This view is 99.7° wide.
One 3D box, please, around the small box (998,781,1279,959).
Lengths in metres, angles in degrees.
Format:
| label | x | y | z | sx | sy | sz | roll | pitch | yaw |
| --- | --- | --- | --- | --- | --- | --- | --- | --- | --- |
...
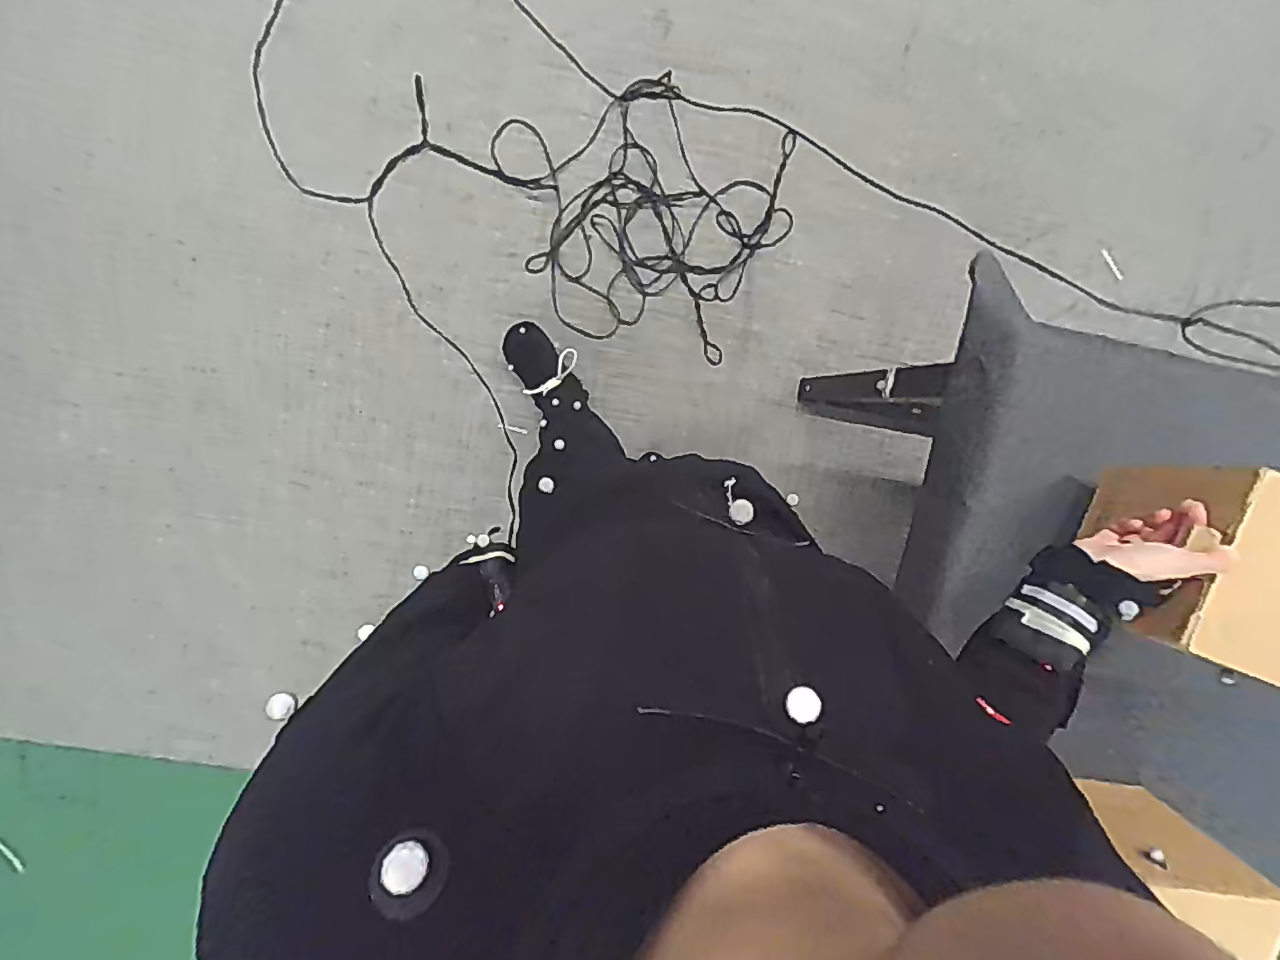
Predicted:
| label | x | y | z | sx | sy | sz | roll | pitch | yaw |
| --- | --- | --- | --- | --- | --- | --- | --- | --- | --- |
| small box | 0.575 | 0.486 | 0.633 | 0.179 | 0.176 | 0.168 | 10 | 98 | -4 |

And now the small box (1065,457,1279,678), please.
| label | x | y | z | sx | sy | sz | roll | pitch | yaw |
| --- | --- | --- | --- | --- | --- | --- | --- | --- | --- |
| small box | 0.567 | 0.086 | 0.516 | 0.179 | 0.176 | 0.168 | 20 | 94 | 4 |
